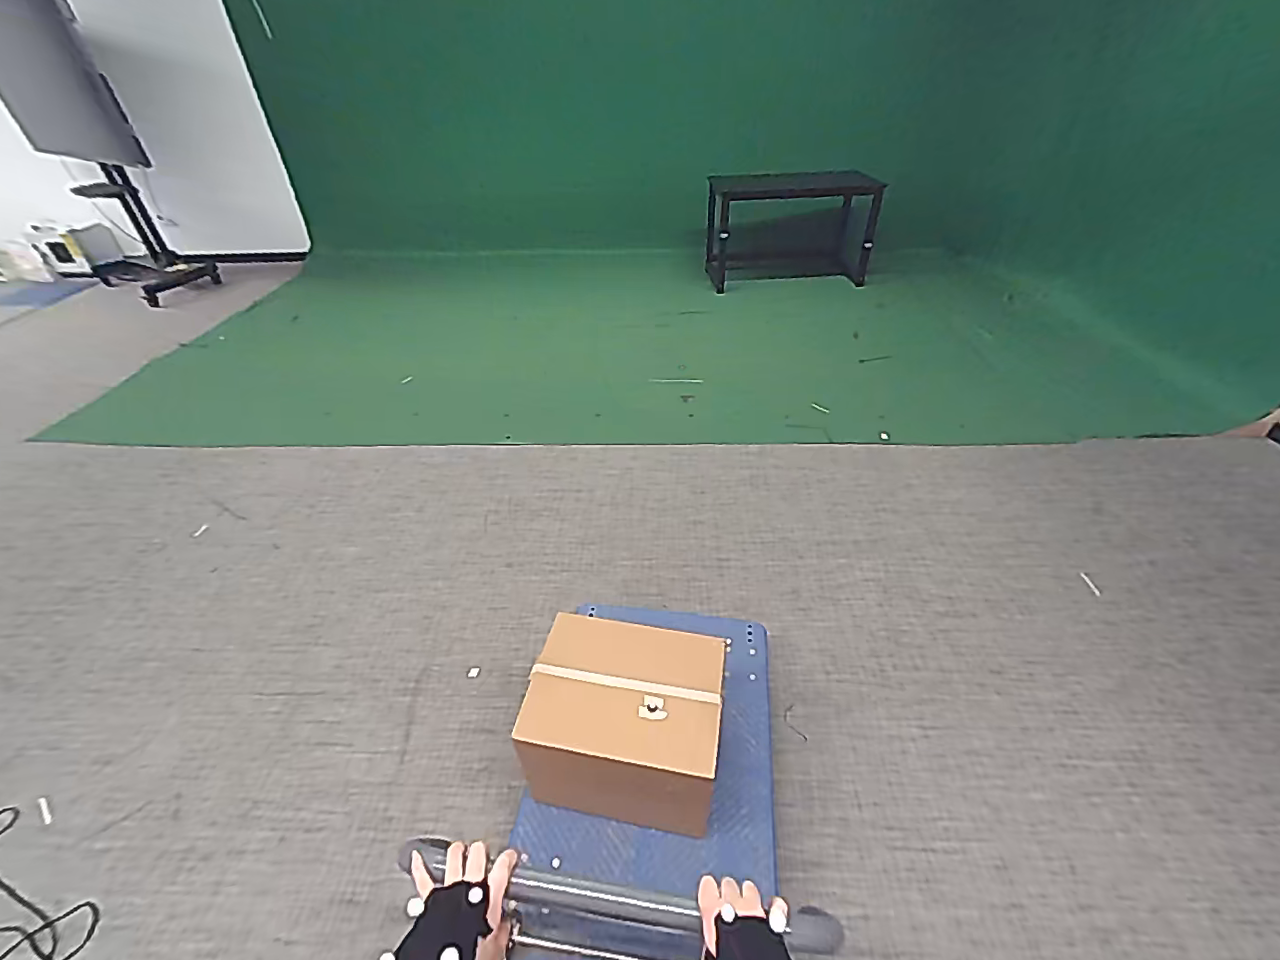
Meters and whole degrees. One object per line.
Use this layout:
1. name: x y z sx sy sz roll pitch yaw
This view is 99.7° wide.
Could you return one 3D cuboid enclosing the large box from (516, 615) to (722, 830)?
1. large box: -0.034 0.559 1.262 0.408 0.320 0.320 7 39 8
